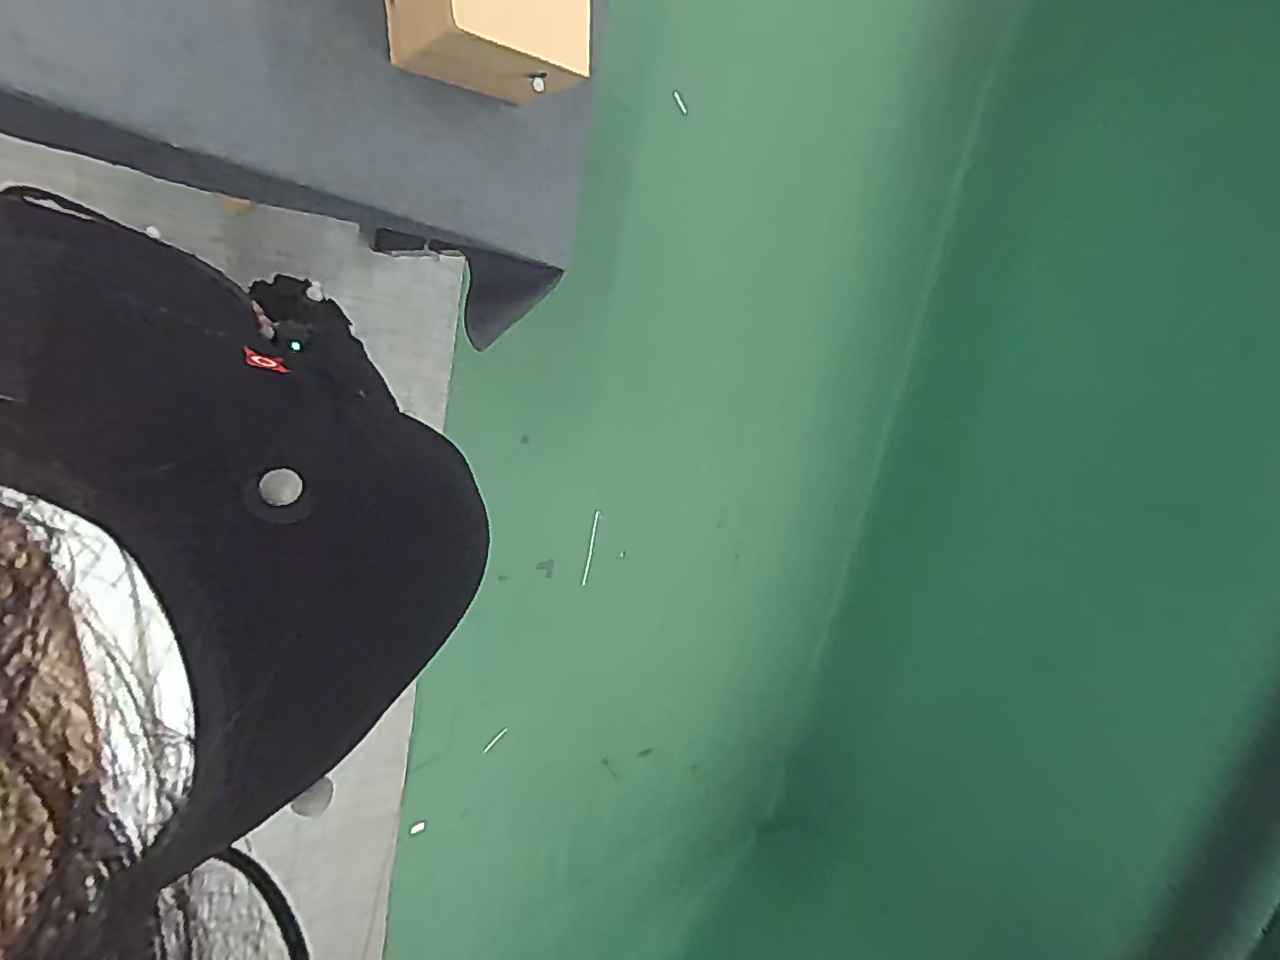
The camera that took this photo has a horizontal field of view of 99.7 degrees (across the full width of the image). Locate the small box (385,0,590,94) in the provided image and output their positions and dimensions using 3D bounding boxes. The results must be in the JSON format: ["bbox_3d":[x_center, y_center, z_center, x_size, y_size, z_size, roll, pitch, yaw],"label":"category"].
[{"bbox_3d":[-0.175,-0.568,0.618,0.179,0.176,0.168,-14,116,-41],"label":"small box"}]
